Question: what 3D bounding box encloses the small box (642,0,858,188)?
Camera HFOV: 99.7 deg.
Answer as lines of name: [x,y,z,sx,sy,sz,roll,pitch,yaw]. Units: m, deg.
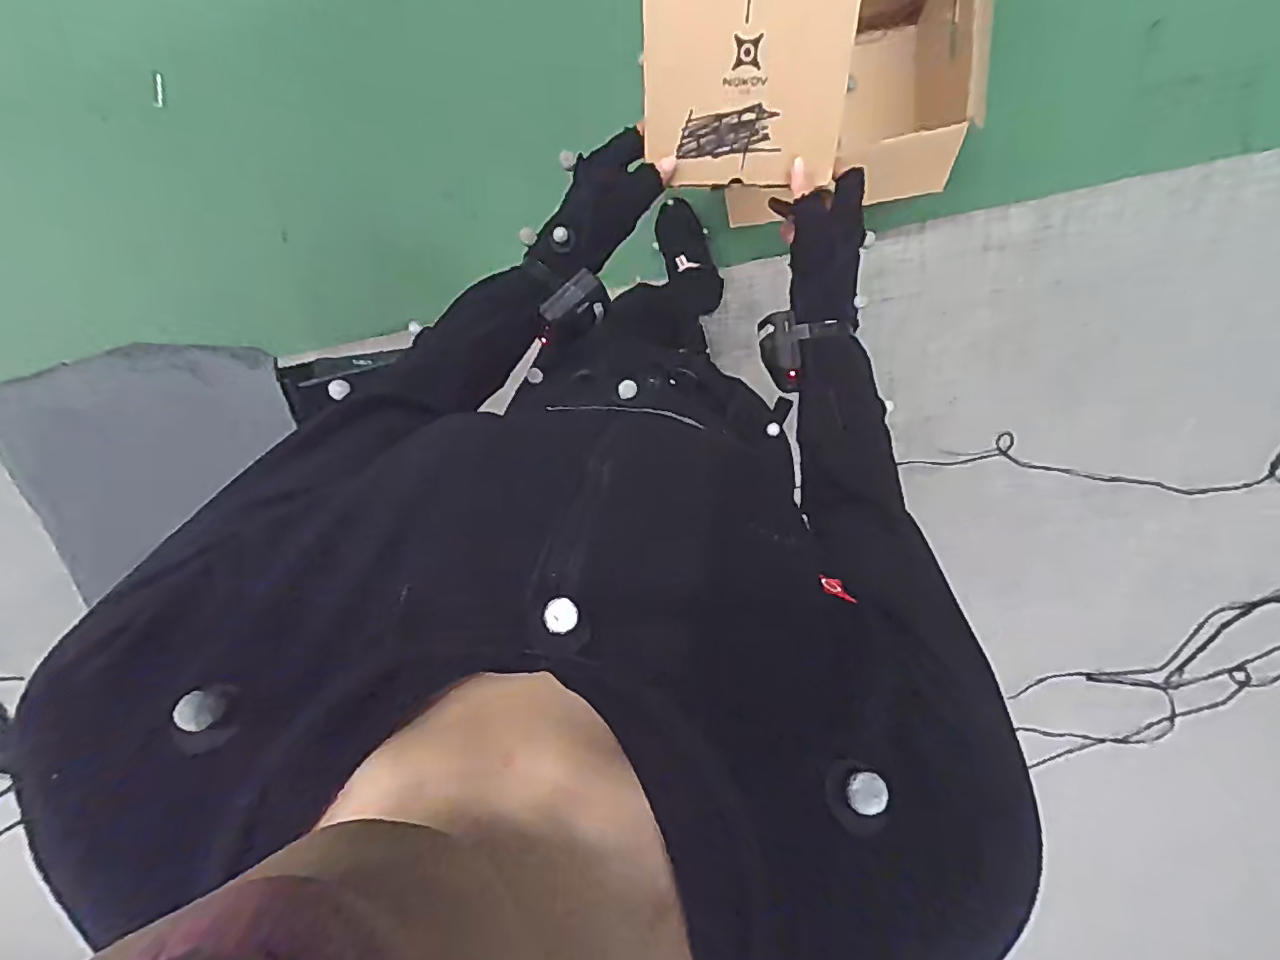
small box: [0.094,-0.380,0.498,0.168,0.176,0.179,4,125,7]
